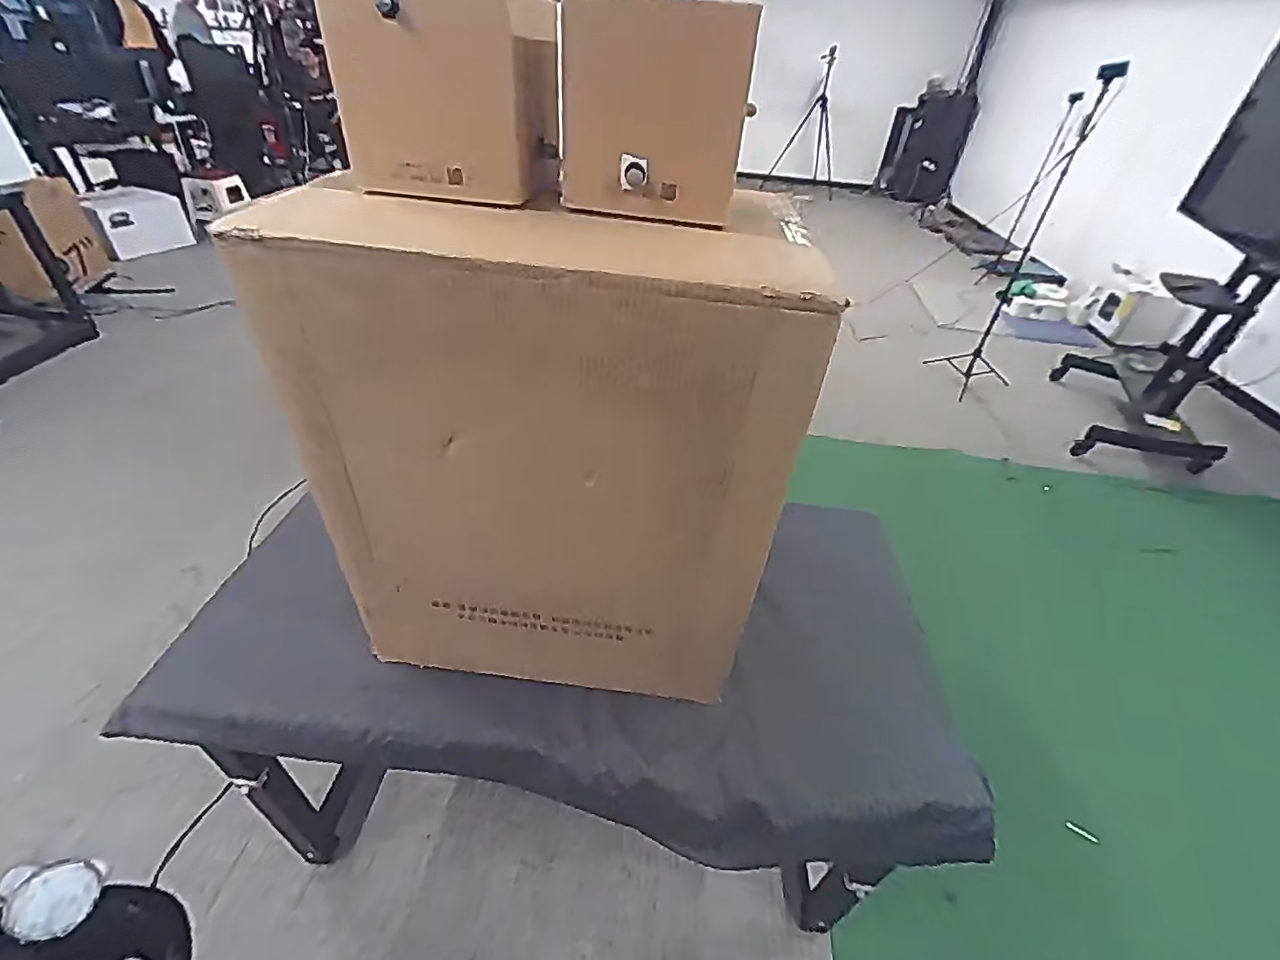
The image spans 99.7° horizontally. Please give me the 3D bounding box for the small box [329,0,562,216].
[{"bbox_3d":[-0.179,-0.385,0.556,0.168,0.176,0.179,6,36,4],"label":"small box"}]
